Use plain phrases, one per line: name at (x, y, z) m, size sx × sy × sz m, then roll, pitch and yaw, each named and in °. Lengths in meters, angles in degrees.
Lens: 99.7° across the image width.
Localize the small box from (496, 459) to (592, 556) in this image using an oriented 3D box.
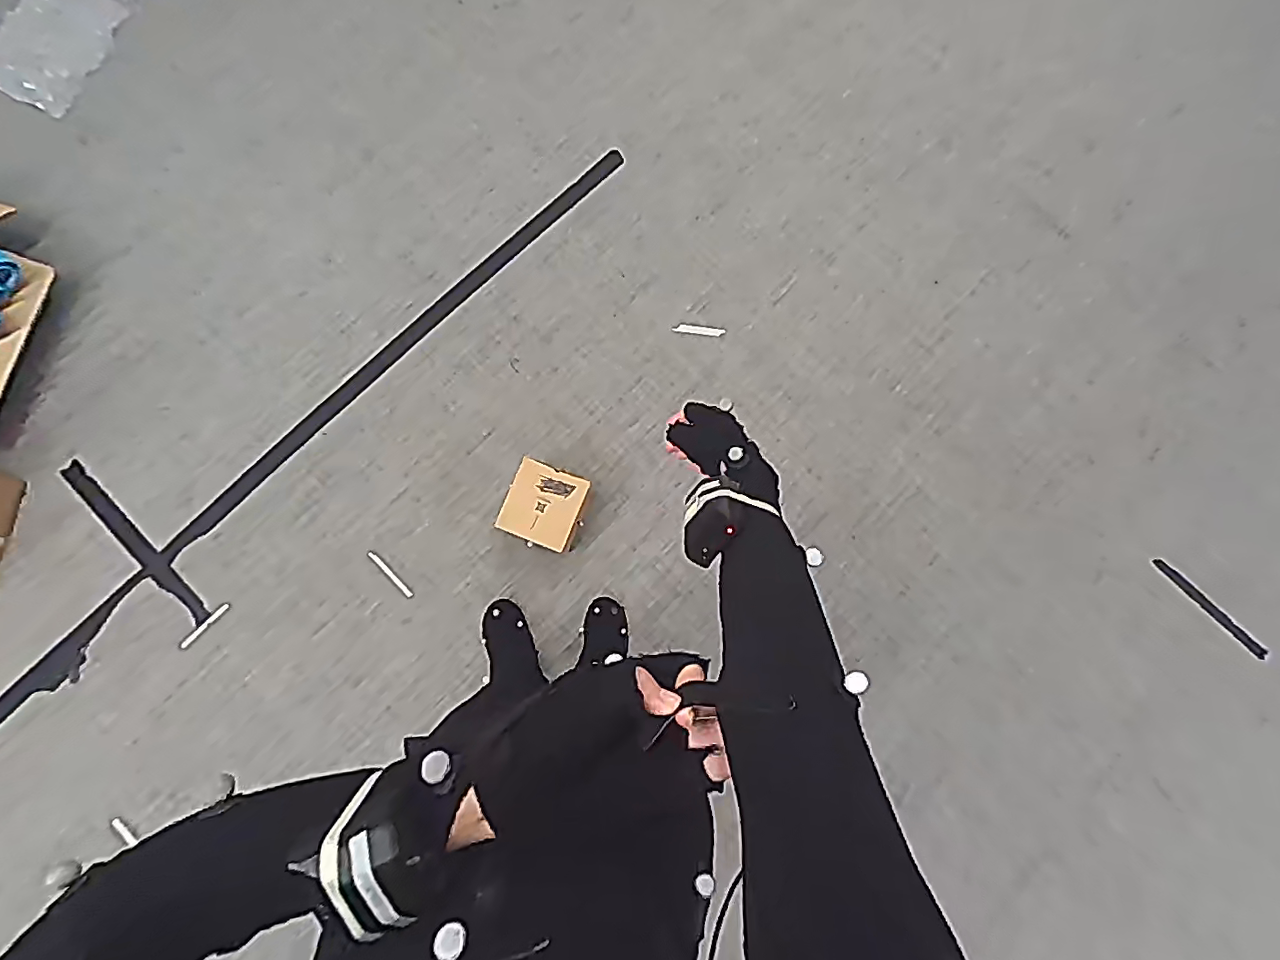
small box at (-0.221, 0.071, 1.295) m, size 0.168 × 0.176 × 0.179 m, roll 22°, pitch 82°, yaw 1°
